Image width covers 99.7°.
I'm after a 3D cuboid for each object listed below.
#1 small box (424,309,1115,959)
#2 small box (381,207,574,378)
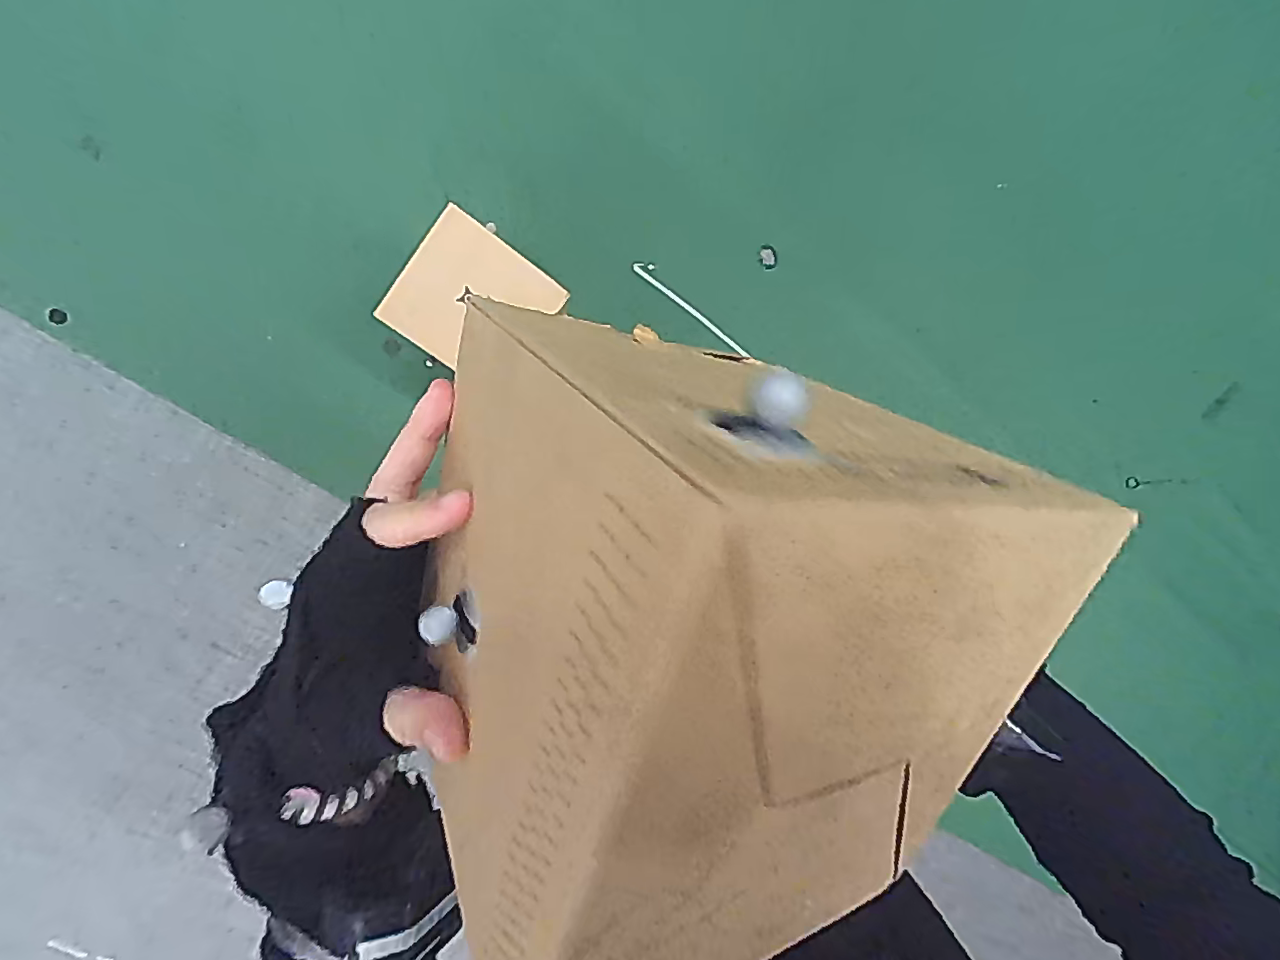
[{"bbox_3d":[0.026,0.052,0.211,0.168,0.176,0.179,2,116,-34],"label":"small box"},{"bbox_3d":[-0.213,-0.226,0.744,0.179,0.176,0.168,35,92,-14],"label":"small box"}]
